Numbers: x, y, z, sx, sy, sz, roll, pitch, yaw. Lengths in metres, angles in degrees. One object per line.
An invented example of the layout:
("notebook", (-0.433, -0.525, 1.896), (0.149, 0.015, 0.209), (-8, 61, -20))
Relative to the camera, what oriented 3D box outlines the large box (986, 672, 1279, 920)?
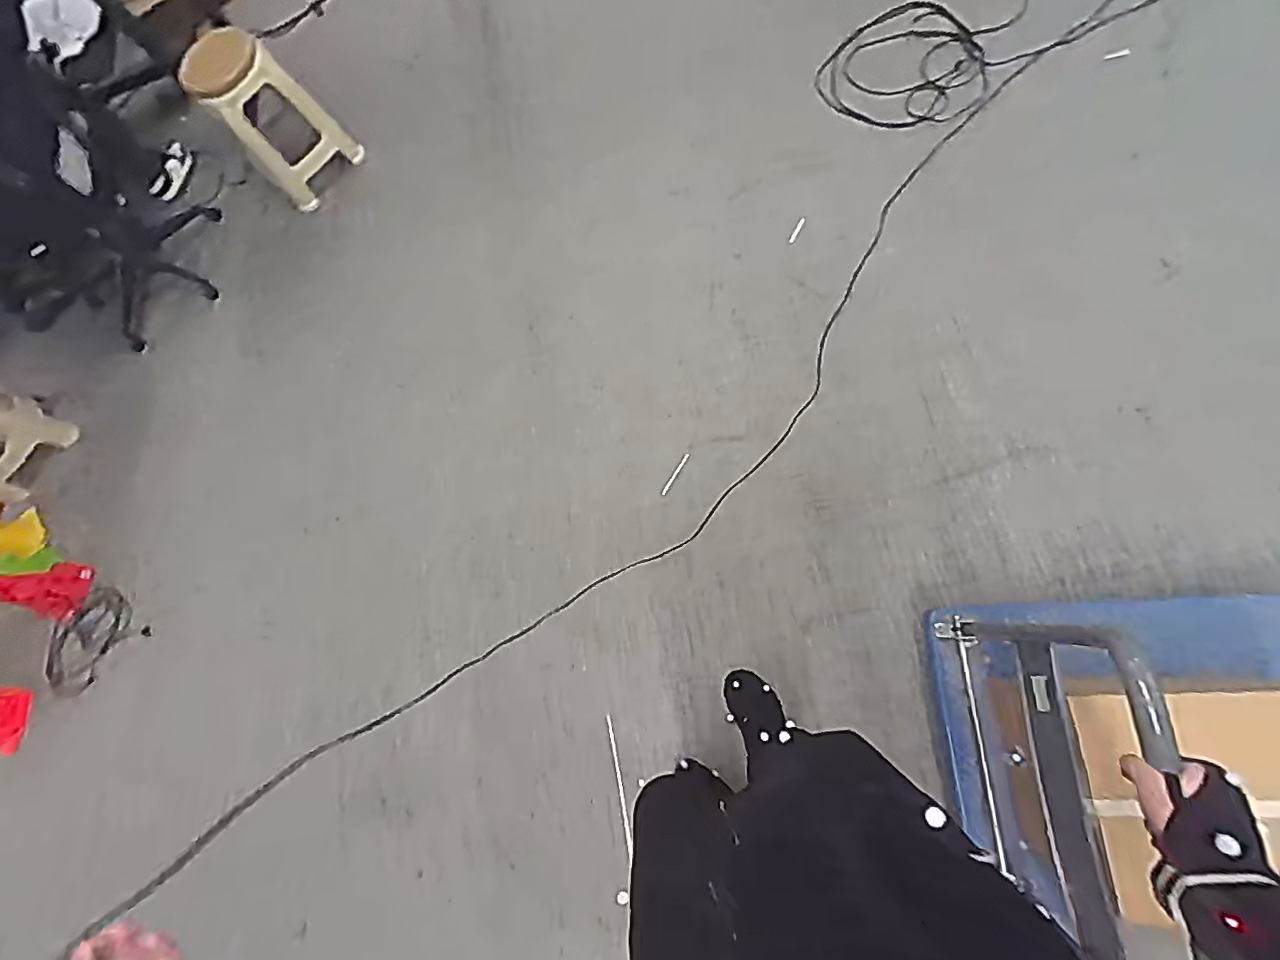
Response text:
("large box", (0.909, 0.512, 0.941), (0.408, 0.320, 0.320), (-6, 74, 10))
